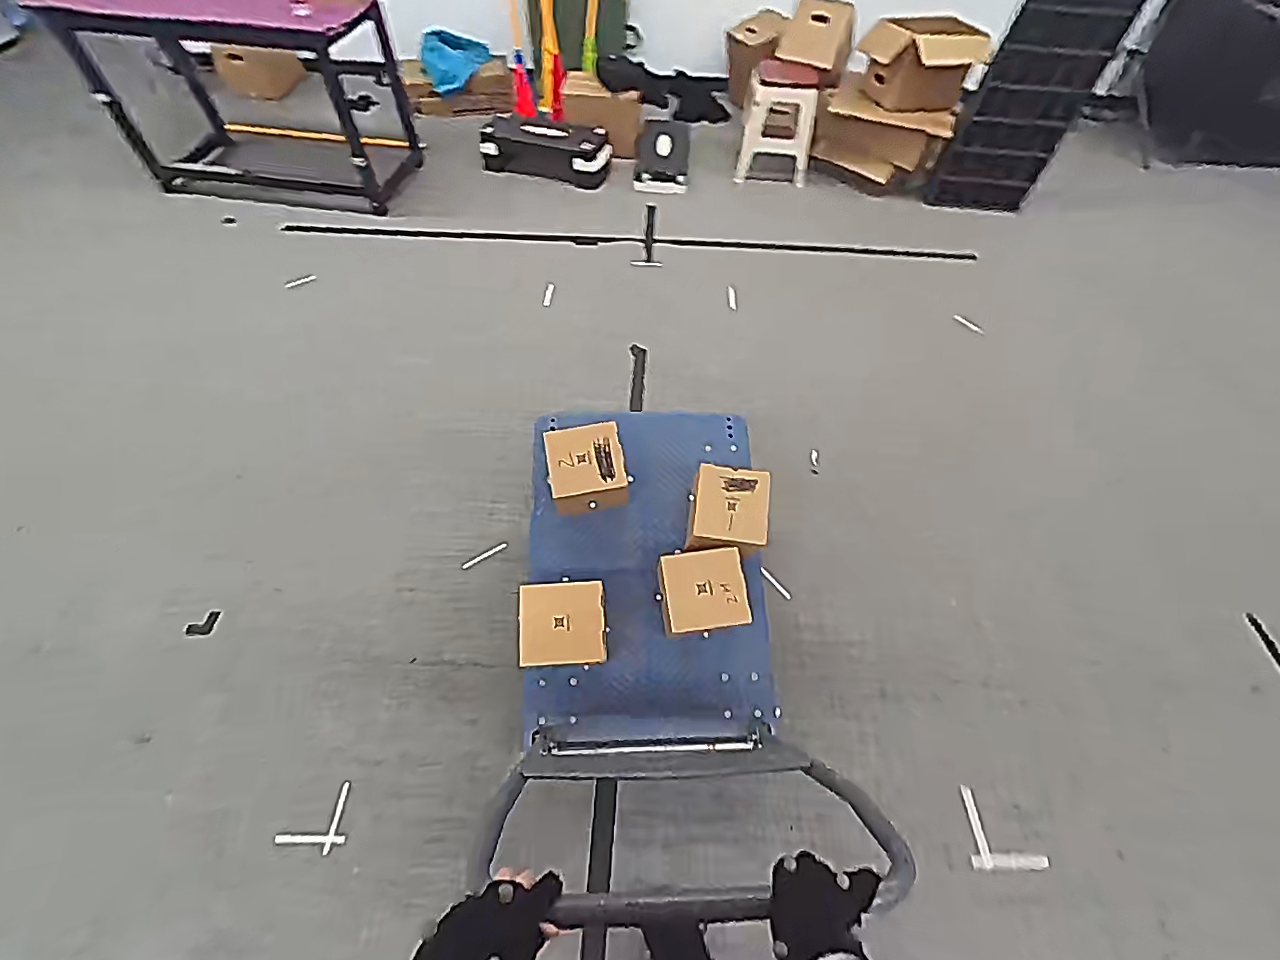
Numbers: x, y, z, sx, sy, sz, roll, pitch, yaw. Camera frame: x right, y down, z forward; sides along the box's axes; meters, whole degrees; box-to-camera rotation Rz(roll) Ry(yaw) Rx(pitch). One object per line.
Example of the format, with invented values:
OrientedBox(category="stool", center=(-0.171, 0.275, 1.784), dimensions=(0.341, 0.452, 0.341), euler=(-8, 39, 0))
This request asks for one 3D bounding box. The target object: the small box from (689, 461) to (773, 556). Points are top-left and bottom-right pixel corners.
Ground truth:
OrientedBox(category="small box", center=(0.212, 0.074, 1.299), dimensions=(0.168, 0.176, 0.179), euler=(8, 72, 1))

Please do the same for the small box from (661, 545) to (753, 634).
OrientedBox(category="small box", center=(0.143, 0.255, 1.233), dimensions=(0.179, 0.176, 0.168), euler=(-7, 71, -4))

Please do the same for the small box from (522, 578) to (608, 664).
OrientedBox(category="small box", center=(-0.162, 0.318, 1.202), dimensions=(0.179, 0.176, 0.168), euler=(-3, 71, -5))
